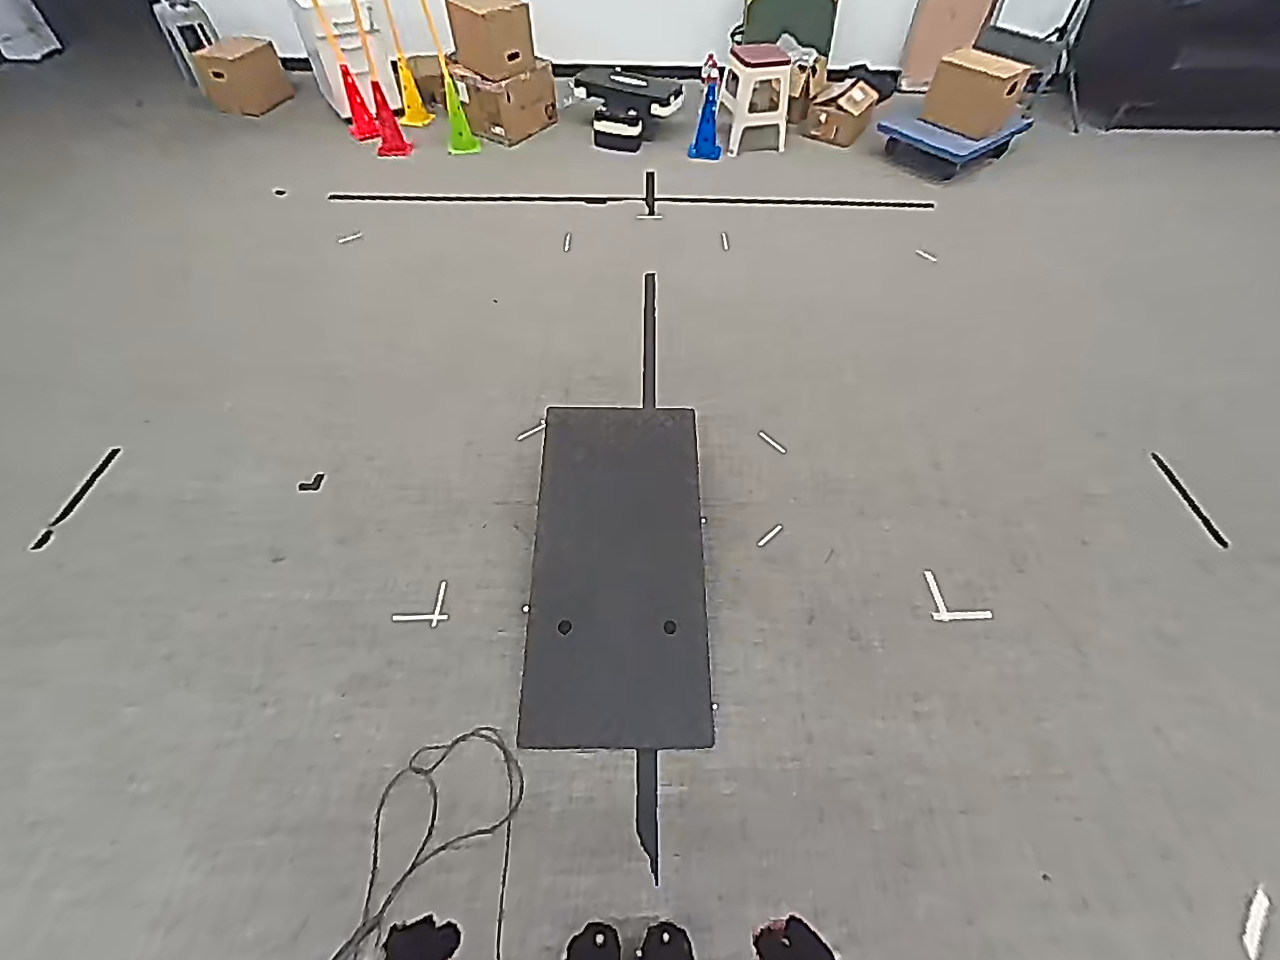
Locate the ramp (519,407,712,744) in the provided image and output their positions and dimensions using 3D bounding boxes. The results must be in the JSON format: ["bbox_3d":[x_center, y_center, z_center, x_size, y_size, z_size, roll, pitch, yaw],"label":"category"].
[{"bbox_3d":[-0.058,0.212,1.568,0.509,0.206,0.991,0,53,-3],"label":"ramp"}]
